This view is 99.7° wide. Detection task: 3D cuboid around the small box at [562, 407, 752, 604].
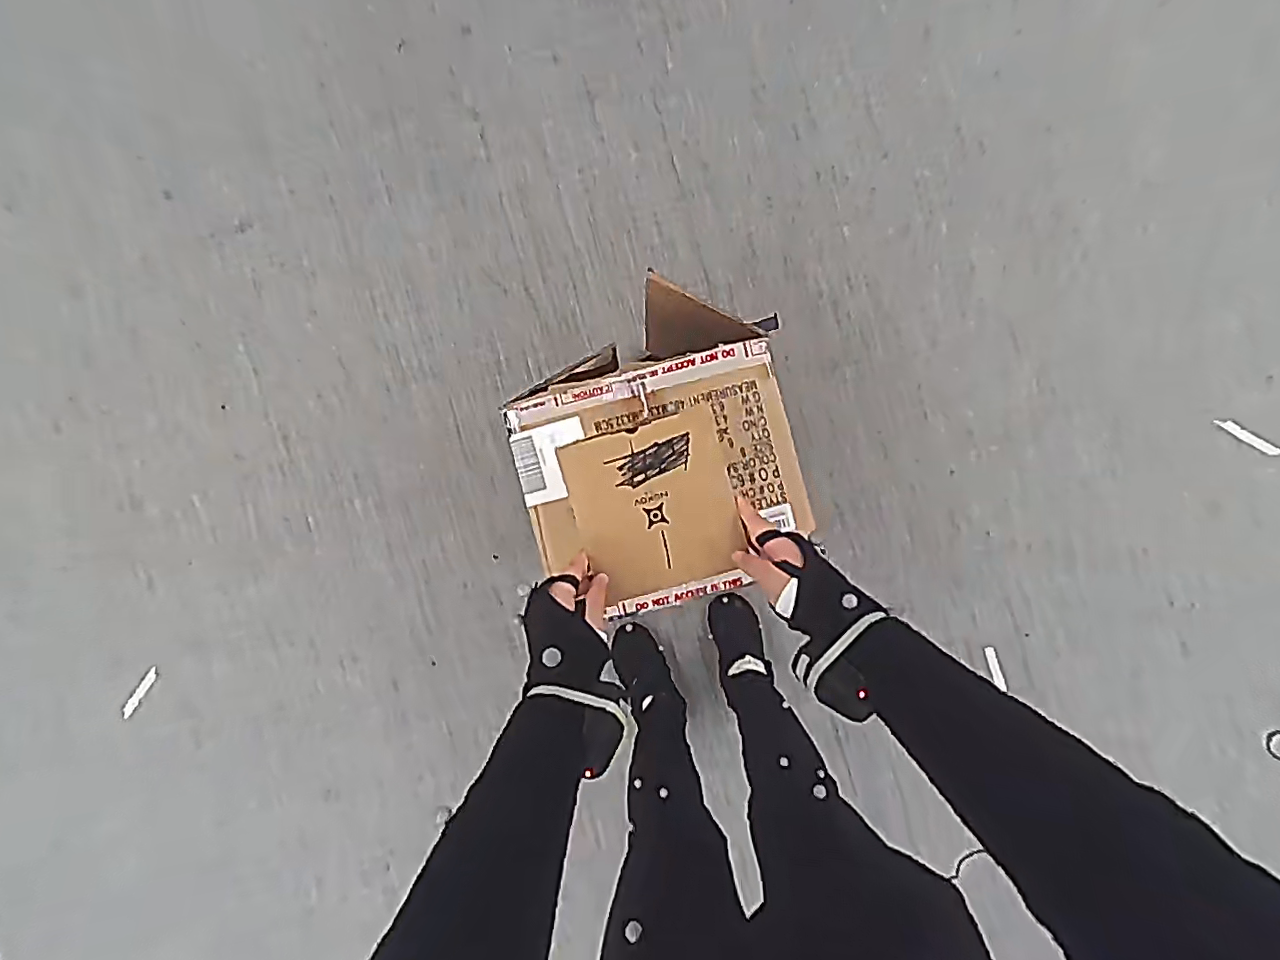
[{"bbox_3d":[0.020,0.022,0.642,0.168,0.176,0.179,-16,95,4],"label":"small box"}]
